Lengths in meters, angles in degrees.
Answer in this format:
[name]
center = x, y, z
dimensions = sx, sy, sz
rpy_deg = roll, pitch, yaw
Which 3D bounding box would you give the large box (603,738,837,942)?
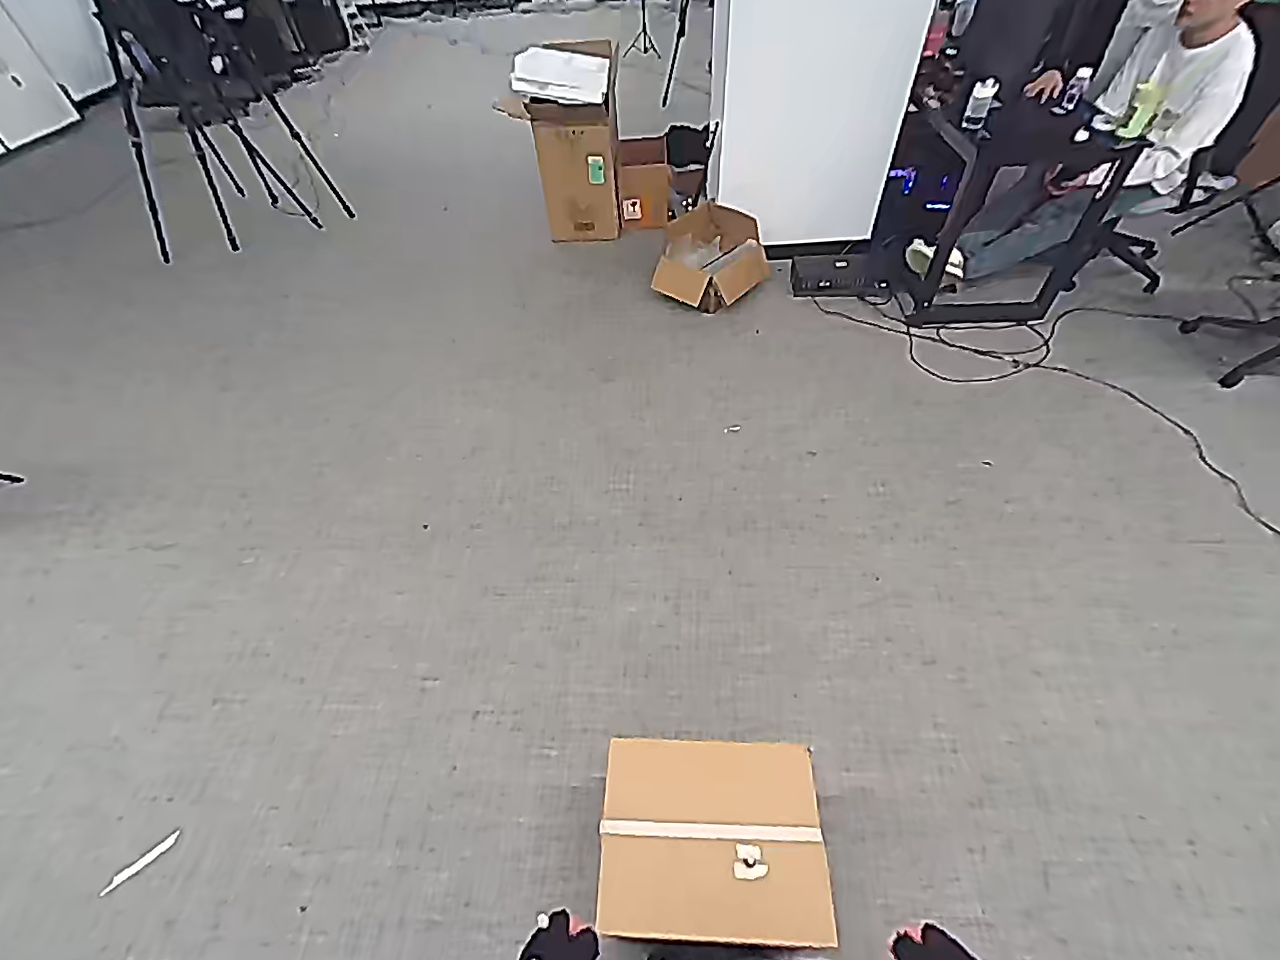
[large box]
center = 0.141, 0.745, 1.116
dimensions = 0.408, 0.320, 0.320
rpy_deg = 0, 50, 3
